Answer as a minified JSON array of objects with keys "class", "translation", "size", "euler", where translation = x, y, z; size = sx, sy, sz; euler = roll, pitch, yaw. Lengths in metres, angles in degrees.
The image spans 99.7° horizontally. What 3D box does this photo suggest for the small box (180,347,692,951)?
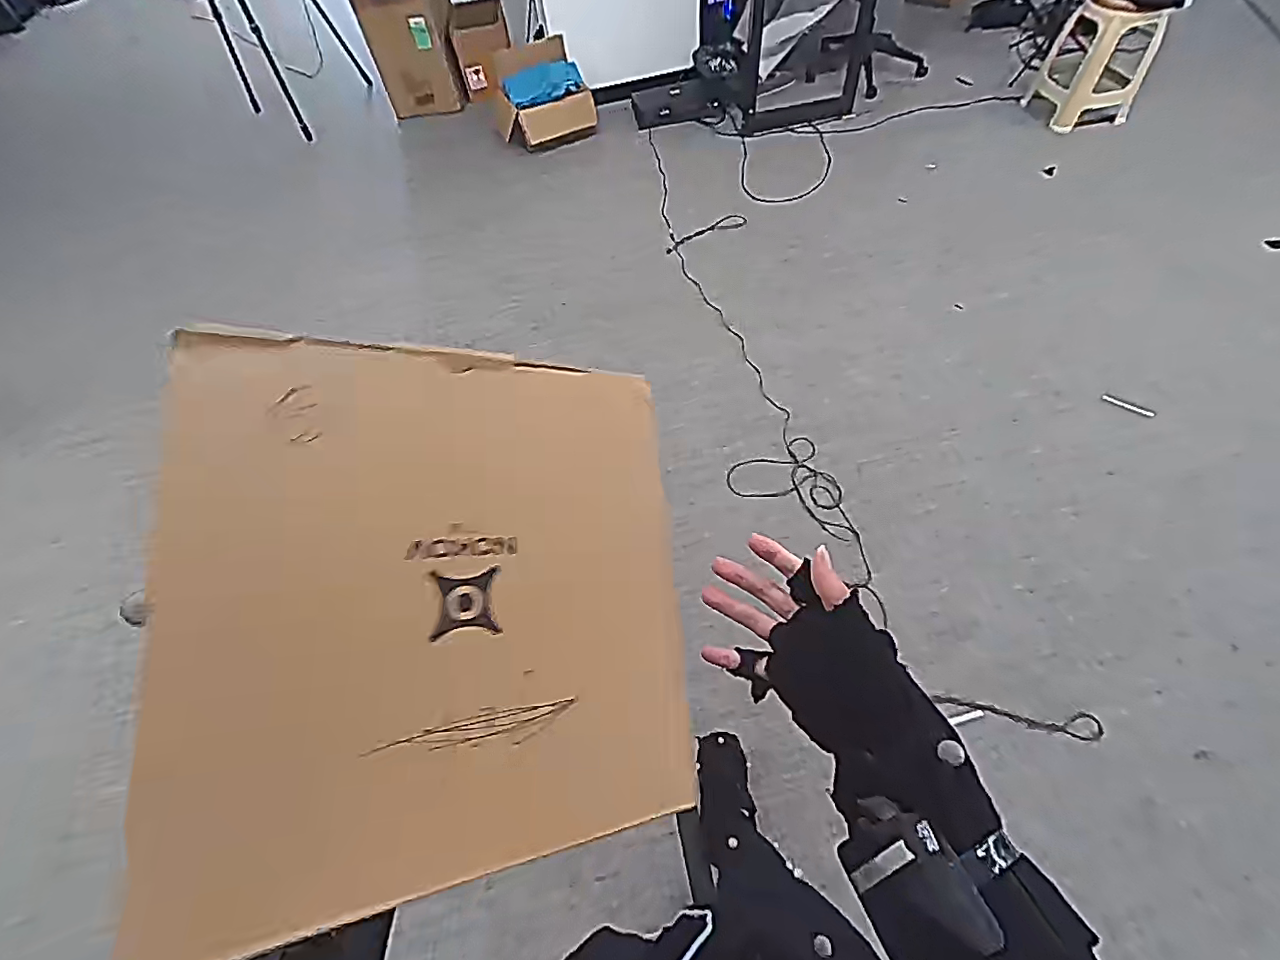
[{"class":"small box","translation":[-0.096,0.061,0.265],"size":[0.168,0.176,0.179],"euler":[2,77,-30]}]
